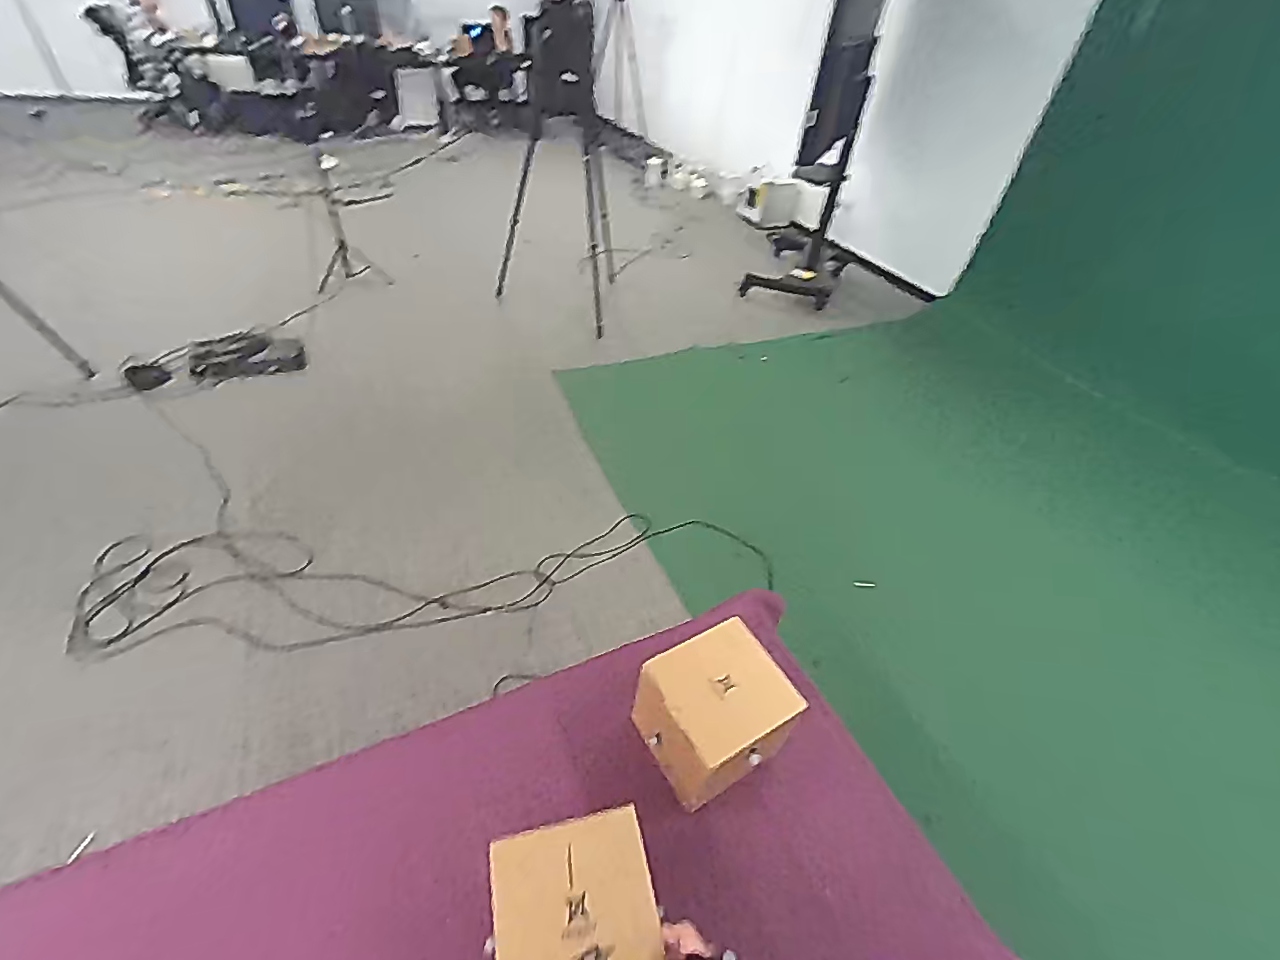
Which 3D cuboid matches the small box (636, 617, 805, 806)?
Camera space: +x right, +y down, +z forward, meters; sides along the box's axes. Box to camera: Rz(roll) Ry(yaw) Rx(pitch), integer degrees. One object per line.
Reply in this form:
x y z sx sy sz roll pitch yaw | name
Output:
0.108 0.345 0.810 0.179 0.176 0.168 -21 50 -24 | small box

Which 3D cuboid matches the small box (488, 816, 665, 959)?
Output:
-0.071 0.506 0.597 0.168 0.176 0.179 -7 47 -15 | small box
